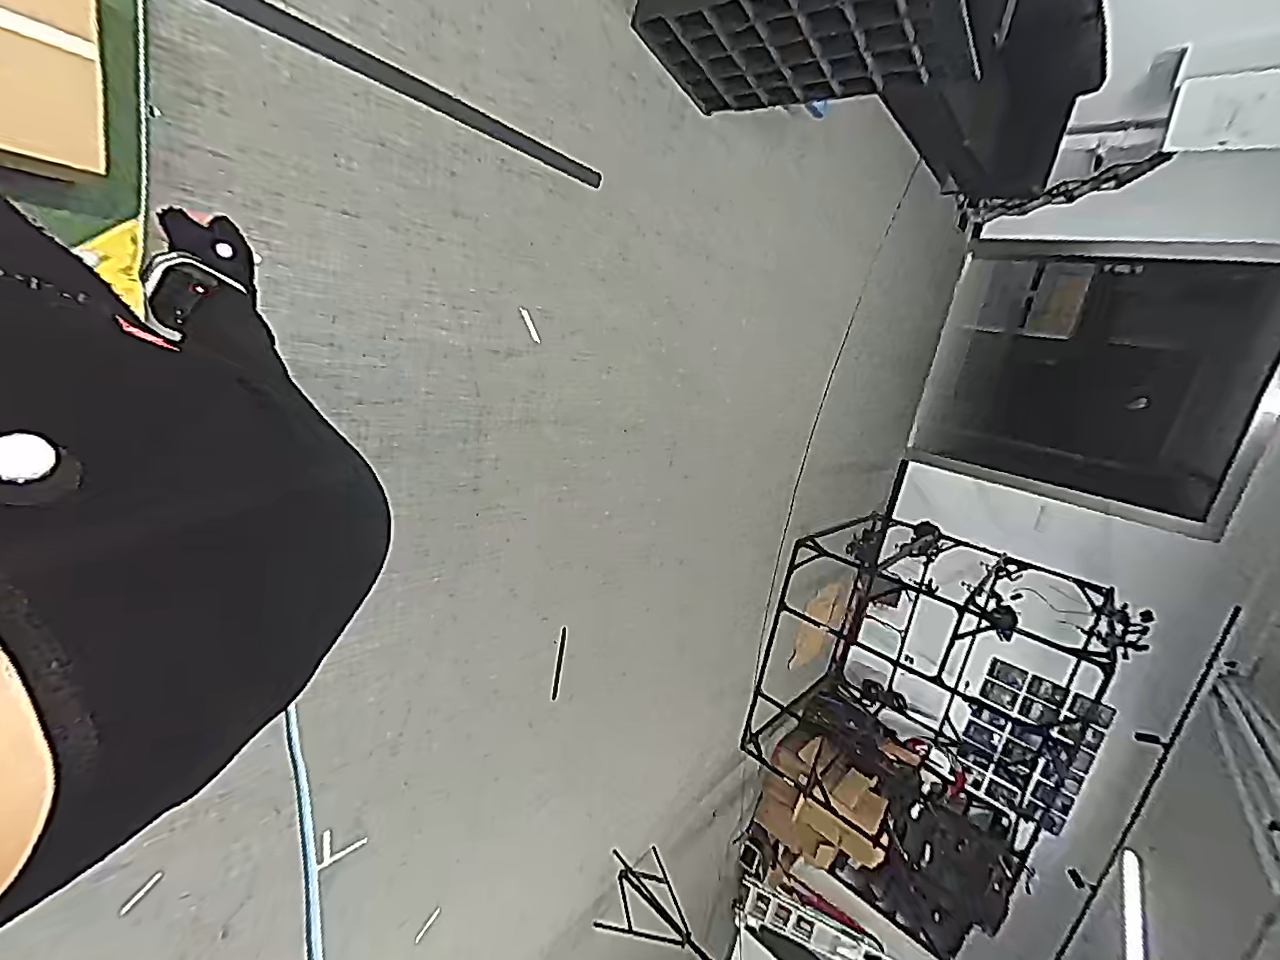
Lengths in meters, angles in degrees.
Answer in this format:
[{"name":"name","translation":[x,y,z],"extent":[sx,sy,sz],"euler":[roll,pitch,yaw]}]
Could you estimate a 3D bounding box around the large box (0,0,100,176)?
[{"name":"large box","translation":[-1.017,-0.631,0.700],"extent":[0.408,0.320,0.320],"euler":[-8,113,-51]}]
